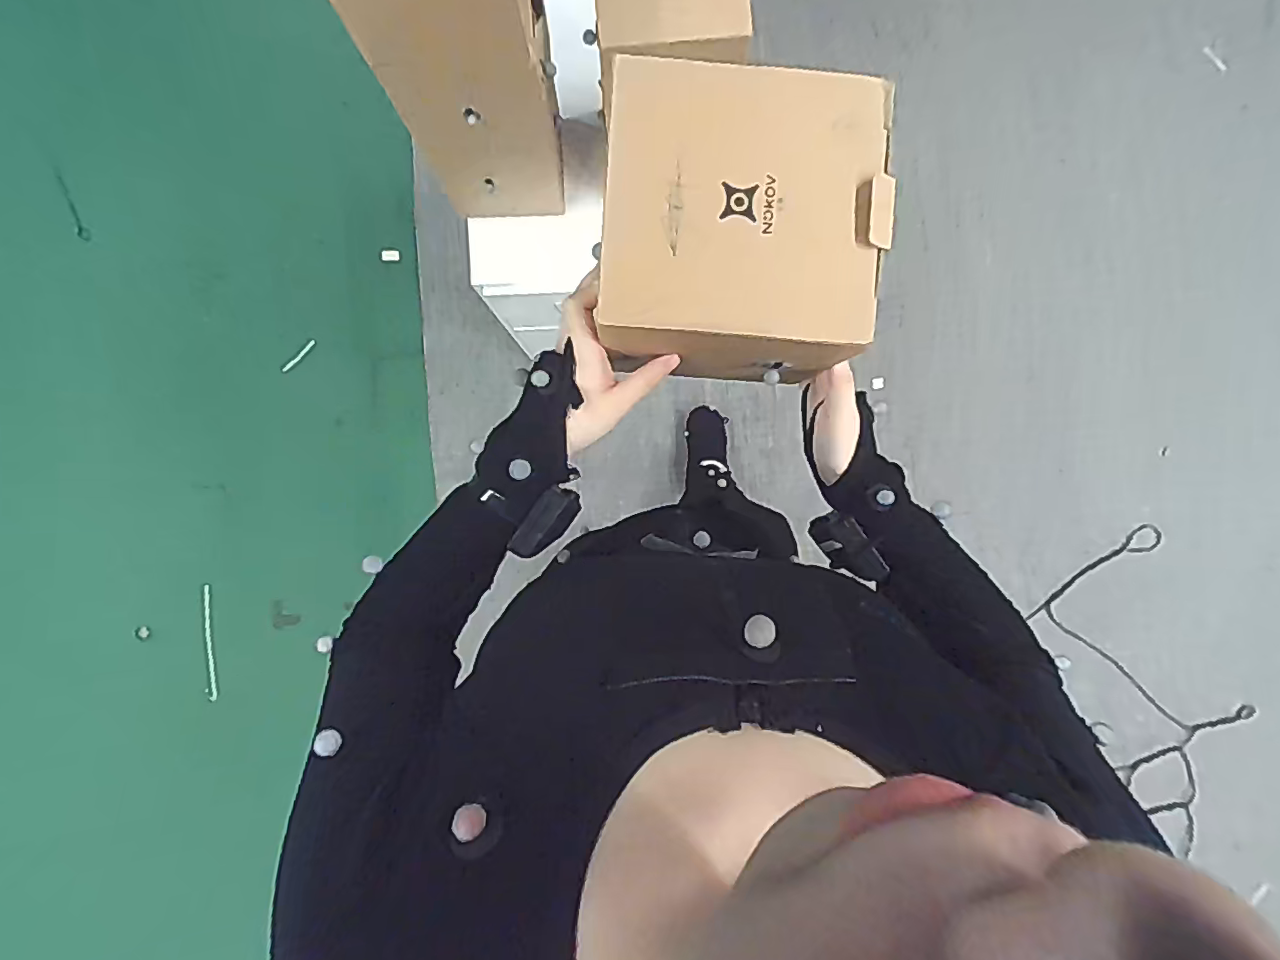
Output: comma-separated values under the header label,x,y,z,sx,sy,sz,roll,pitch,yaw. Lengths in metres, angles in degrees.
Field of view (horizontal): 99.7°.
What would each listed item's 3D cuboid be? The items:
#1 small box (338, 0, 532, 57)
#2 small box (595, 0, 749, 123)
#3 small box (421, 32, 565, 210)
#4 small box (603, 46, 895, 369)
label,x,y,z,sx,sy,sz,roll,pitch,yaw
small box,-0.202,-0.525,0.490,0.179,0.176,0.168,-3,90,-3
small box,0.030,-0.558,0.657,0.168,0.176,0.179,-5,90,-1
small box,-0.212,-0.527,0.816,0.179,0.176,0.168,-3,91,-2
small box,0.067,-0.184,0.418,0.179,0.176,0.168,3,91,0
